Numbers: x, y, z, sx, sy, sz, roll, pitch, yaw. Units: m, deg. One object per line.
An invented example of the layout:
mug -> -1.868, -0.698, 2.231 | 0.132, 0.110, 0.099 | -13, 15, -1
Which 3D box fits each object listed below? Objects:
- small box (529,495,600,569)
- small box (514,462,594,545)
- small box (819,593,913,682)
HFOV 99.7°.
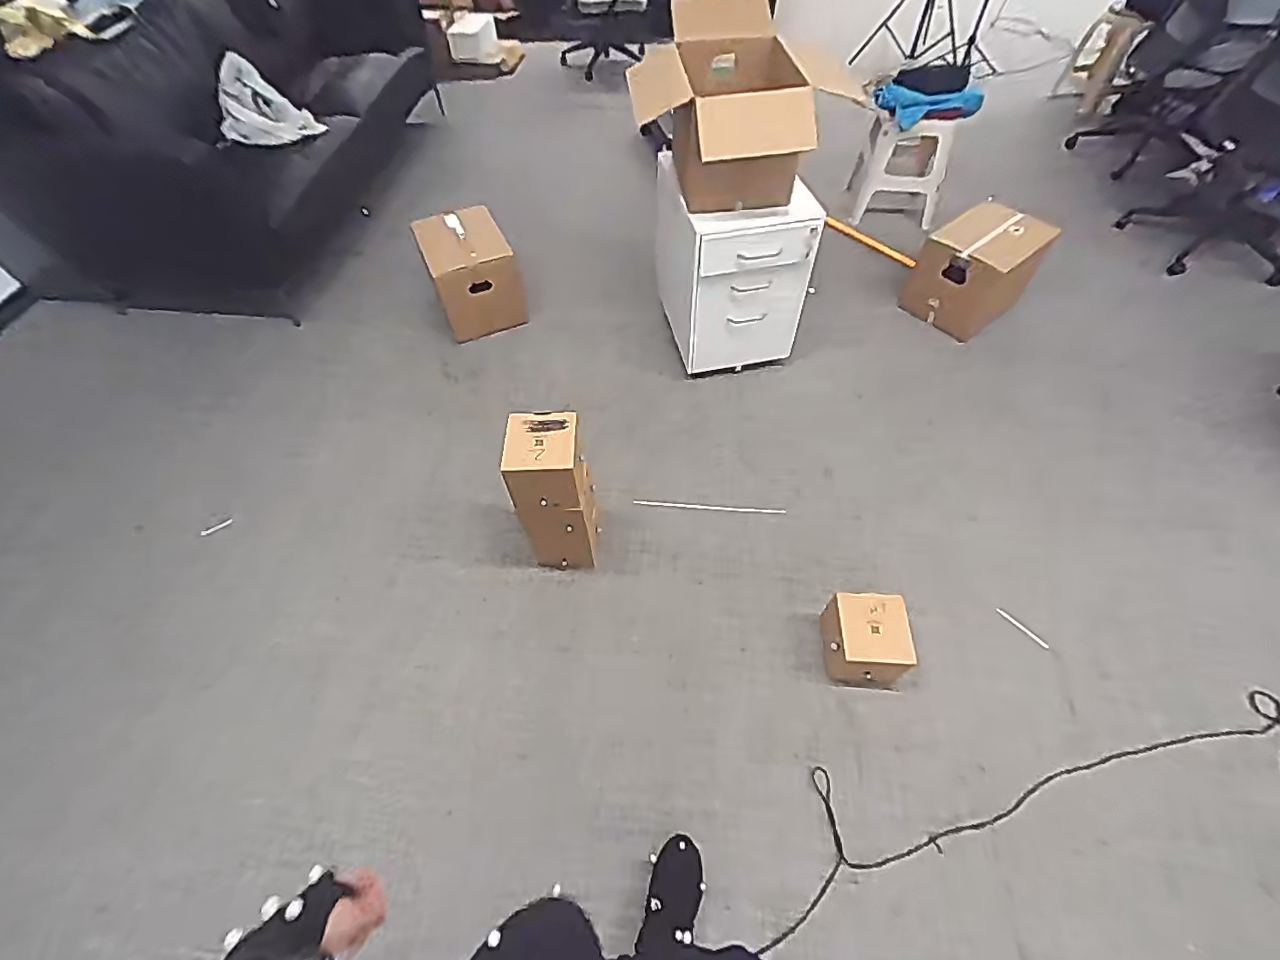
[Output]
small box -> -0.217, 0.152, 1.598 | 0.179, 0.176, 0.168 | 2, 54, 4
small box -> -0.223, 0.066, 1.460 | 0.179, 0.176, 0.168 | -1, 53, 4
small box -> 0.566, 0.406, 1.377 | 0.168, 0.176, 0.179 | 2, 55, 3
